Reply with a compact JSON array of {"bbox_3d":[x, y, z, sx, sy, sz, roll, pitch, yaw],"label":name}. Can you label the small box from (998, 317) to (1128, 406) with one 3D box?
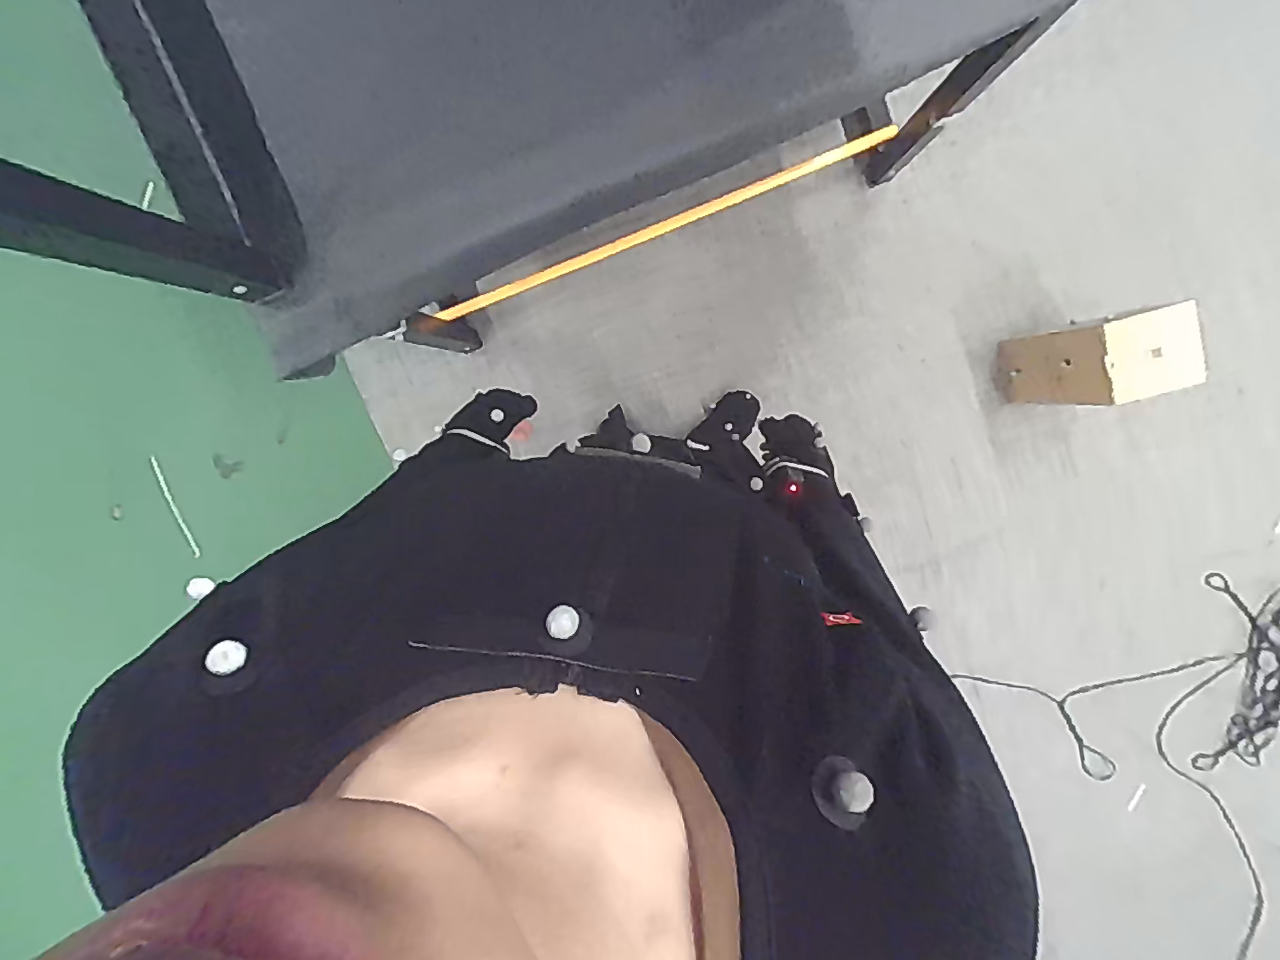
[{"bbox_3d":[1.012,-0.281,1.305,0.179,0.176,0.168,-14,97,6],"label":"small box"}]
